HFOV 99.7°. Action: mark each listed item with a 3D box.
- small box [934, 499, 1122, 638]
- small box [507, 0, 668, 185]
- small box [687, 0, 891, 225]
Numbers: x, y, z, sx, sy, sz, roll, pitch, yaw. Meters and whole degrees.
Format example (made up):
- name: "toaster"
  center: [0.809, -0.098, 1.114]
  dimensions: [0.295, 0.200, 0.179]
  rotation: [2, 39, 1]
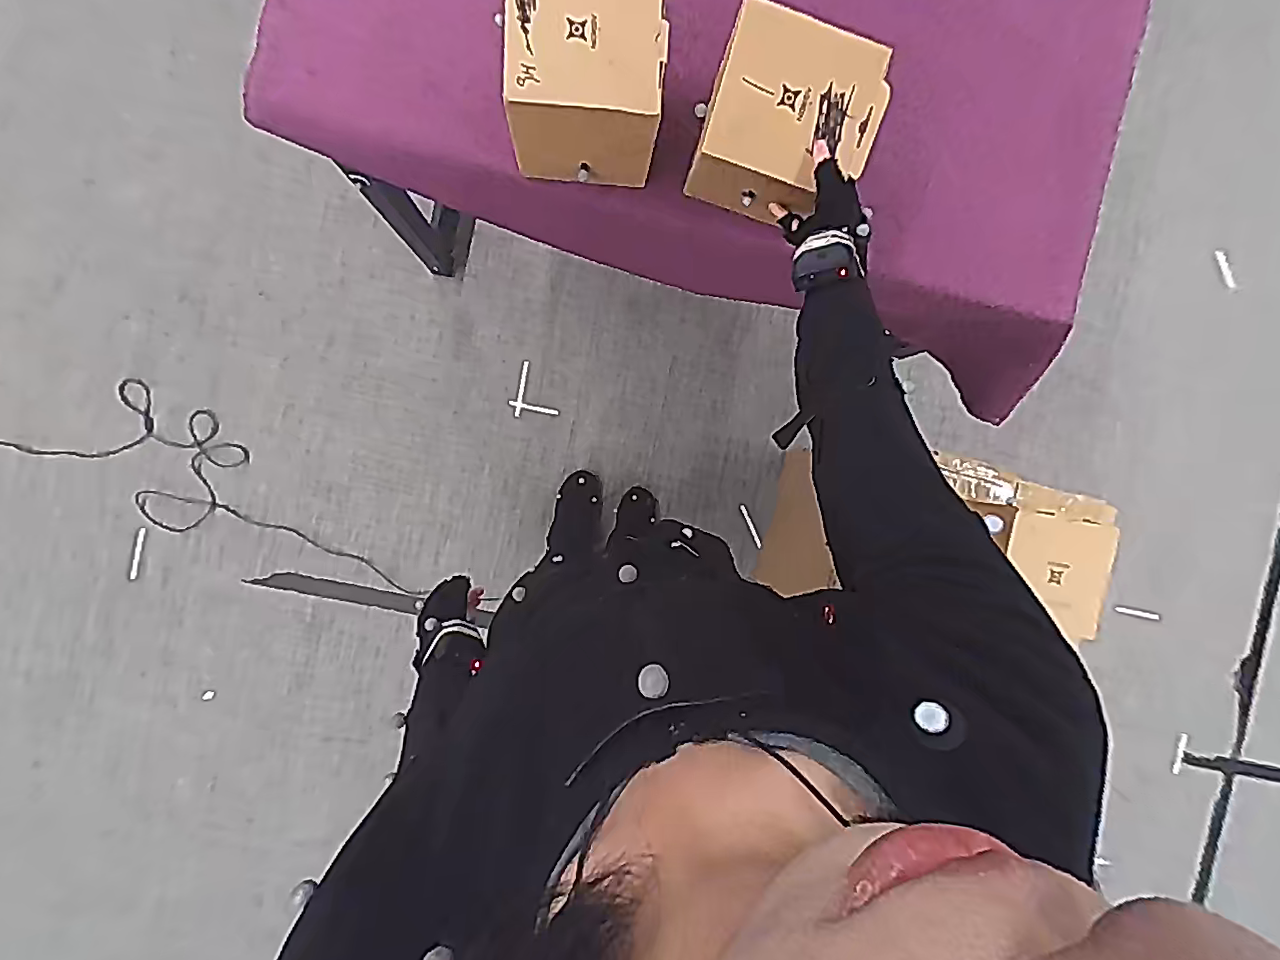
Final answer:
- name: "small box"
  center: [0.607, 0.131, 0.869]
  dimensions: [0.168, 0.176, 0.179]
  rotation: [10, 93, -3]
- name: "small box"
  center: [-0.067, -0.495, 0.675]
  dimensions: [0.179, 0.176, 0.168]
  rotation: [1, 92, -7]
- name: "small box"
  center: [0.171, -0.443, 0.685]
  dimensions: [0.179, 0.176, 0.168]
  rotation: [16, 102, -5]
